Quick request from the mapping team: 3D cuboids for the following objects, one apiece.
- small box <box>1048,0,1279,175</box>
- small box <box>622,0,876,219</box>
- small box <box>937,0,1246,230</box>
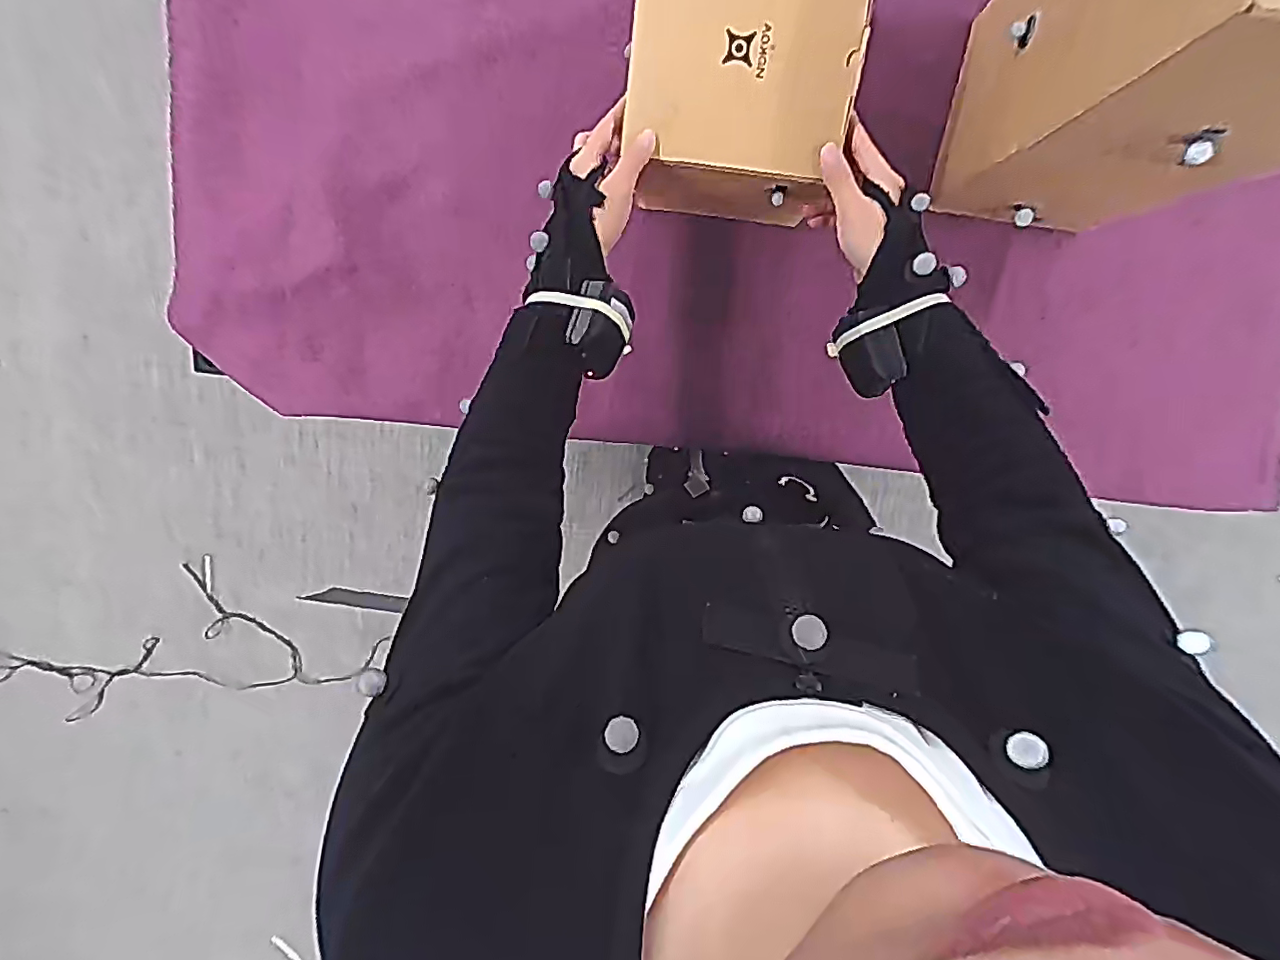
[{"bbox_3d":[0.379,-0.303,0.301,0.168,0.176,0.179,10,102,3],"label":"small box"},{"bbox_3d":[0.087,-0.346,0.481,0.179,0.176,0.168,8,104,2],"label":"small box"},{"bbox_3d":[0.388,-0.338,0.463,0.168,0.176,0.179,10,103,2],"label":"small box"}]
